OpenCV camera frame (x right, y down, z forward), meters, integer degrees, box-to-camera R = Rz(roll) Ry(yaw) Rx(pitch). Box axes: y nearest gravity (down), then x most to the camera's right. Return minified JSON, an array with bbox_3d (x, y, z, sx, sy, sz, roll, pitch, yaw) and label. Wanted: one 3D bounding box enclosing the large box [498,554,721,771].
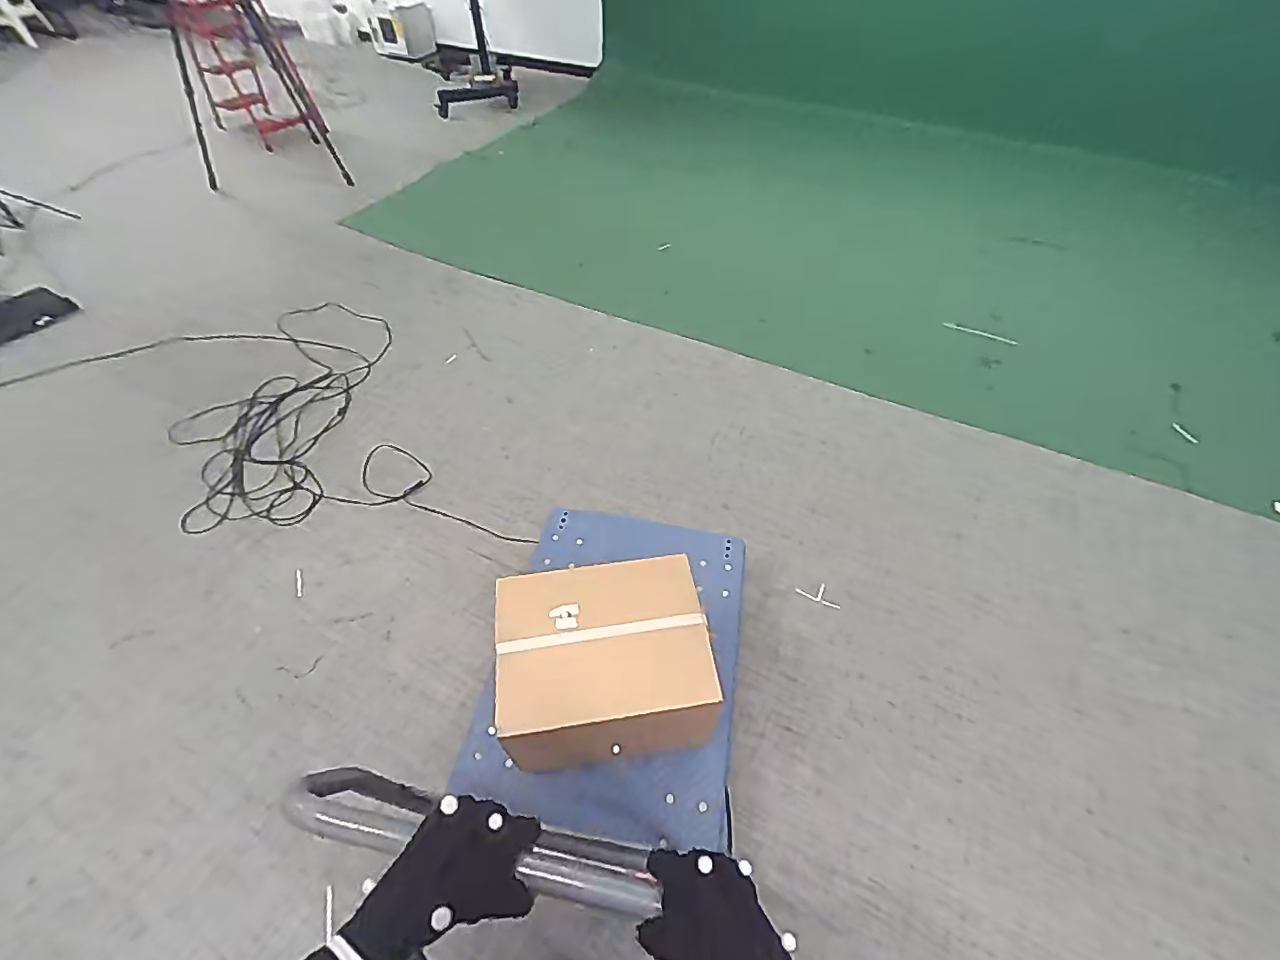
[{"bbox_3d":[-0.070,0.395,1.163,0.408,0.320,0.320,-8,50,-6],"label":"large box"}]
